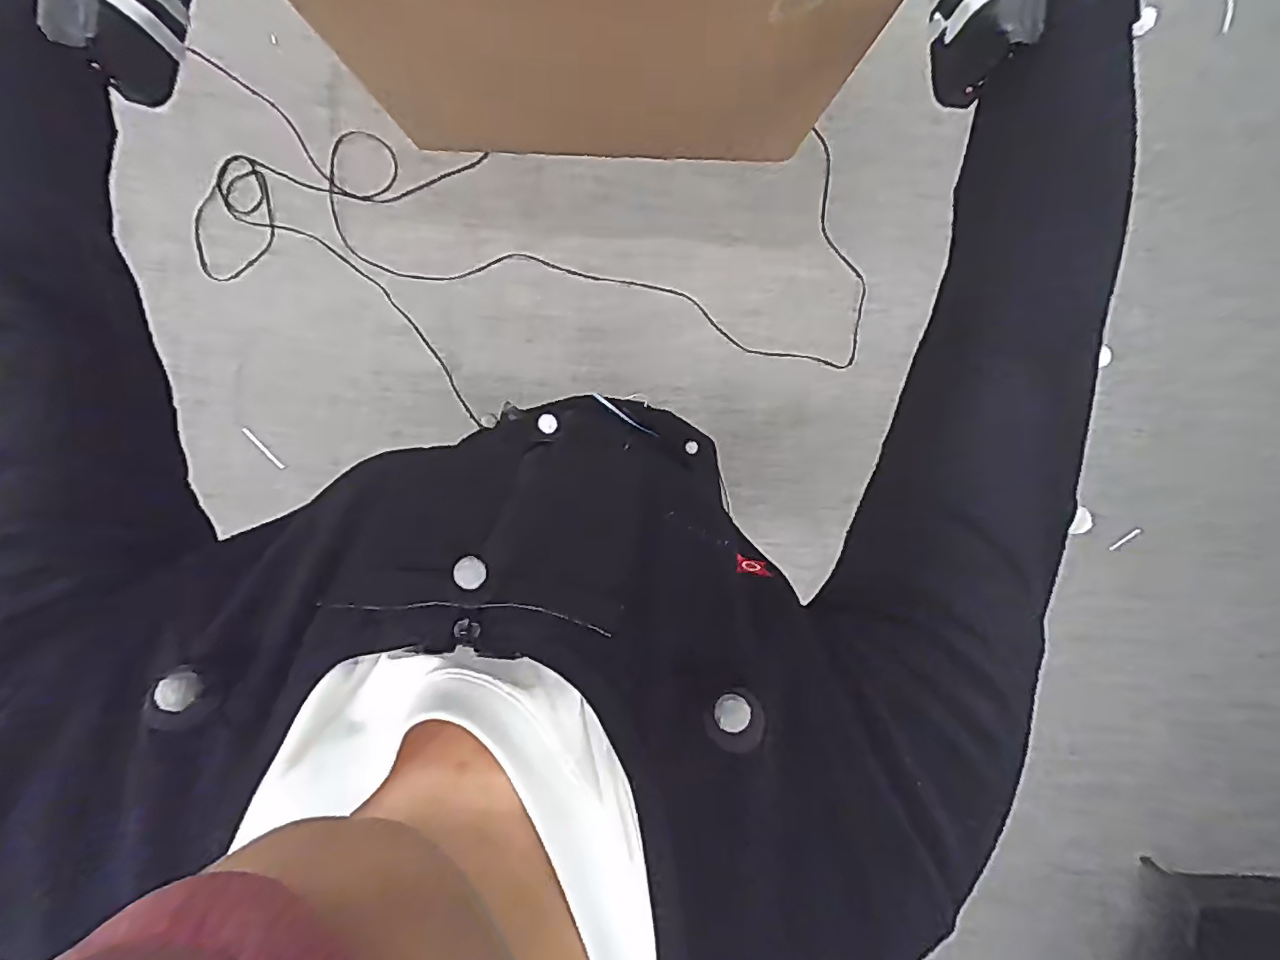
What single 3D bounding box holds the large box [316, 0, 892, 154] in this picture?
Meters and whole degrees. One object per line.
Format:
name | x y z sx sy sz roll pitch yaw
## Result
large box | -0.028 -0.482 0.417 0.408 0.320 0.320 0 100 -3
